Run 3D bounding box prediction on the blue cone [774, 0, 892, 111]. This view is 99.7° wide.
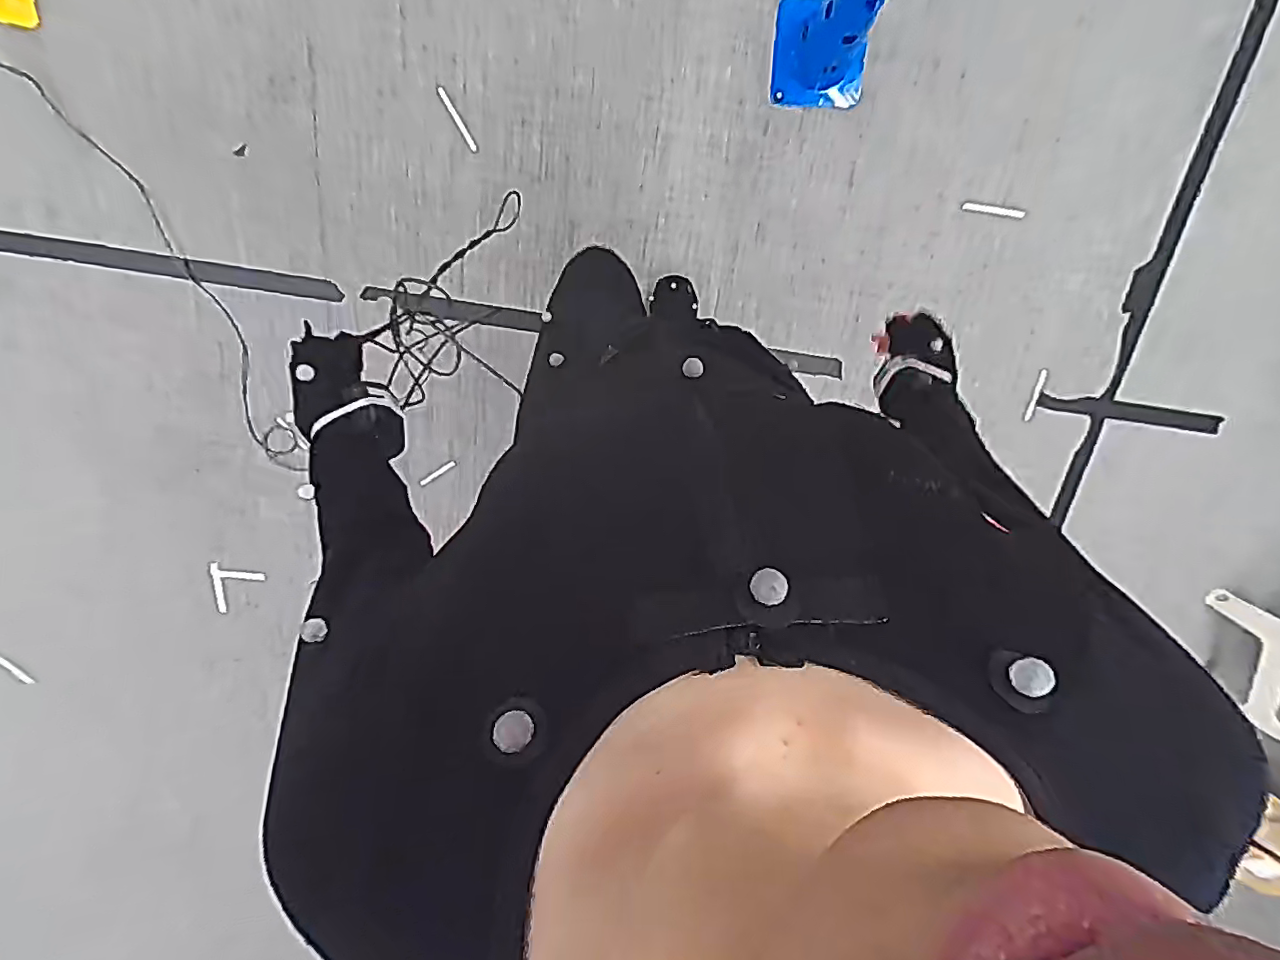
[{"bbox_3d":[0.392,-0.860,1.018,0.193,0.380,0.192,2,110,-1],"label":"blue cone"}]
